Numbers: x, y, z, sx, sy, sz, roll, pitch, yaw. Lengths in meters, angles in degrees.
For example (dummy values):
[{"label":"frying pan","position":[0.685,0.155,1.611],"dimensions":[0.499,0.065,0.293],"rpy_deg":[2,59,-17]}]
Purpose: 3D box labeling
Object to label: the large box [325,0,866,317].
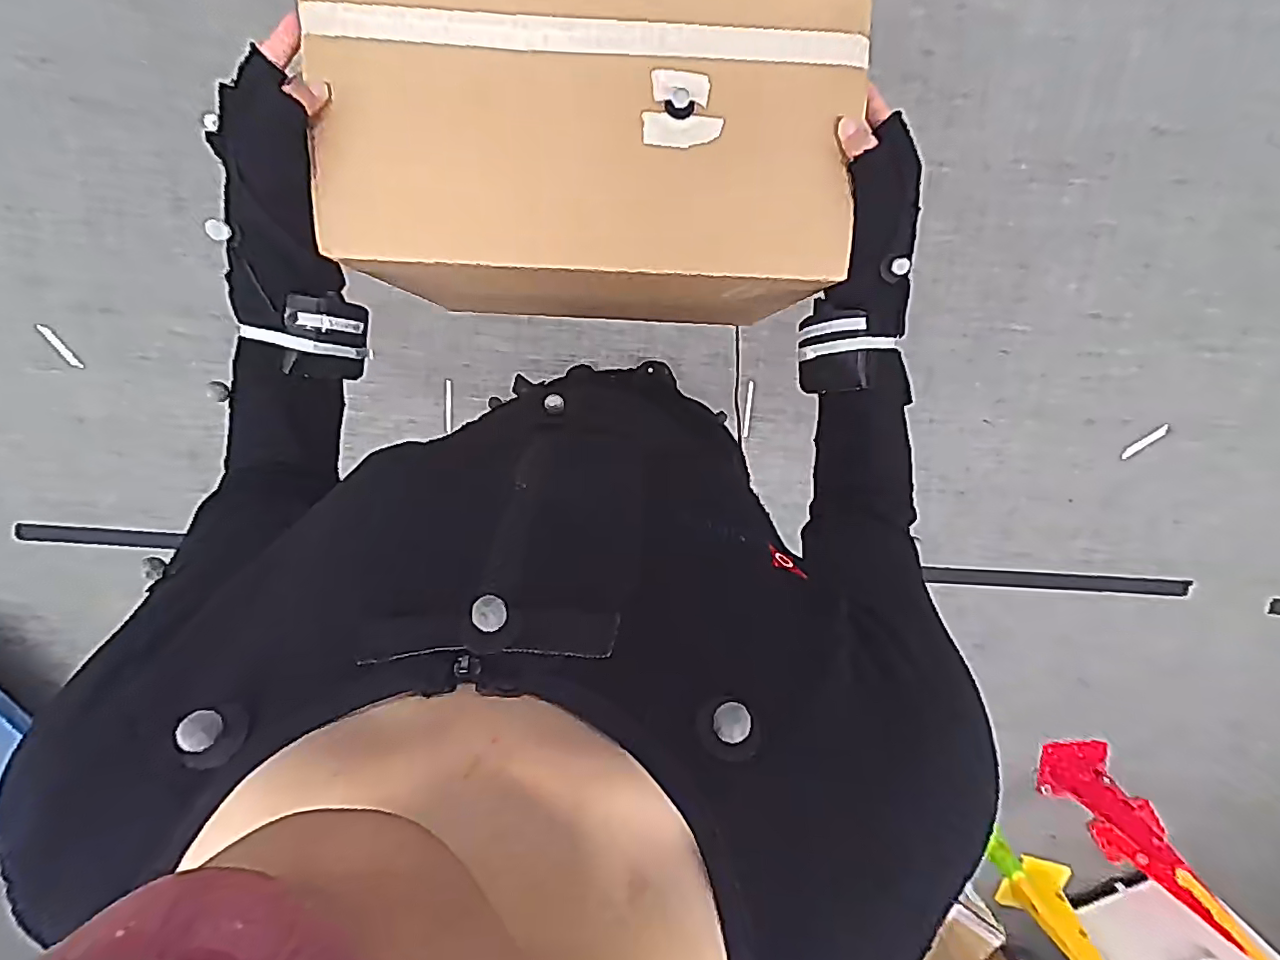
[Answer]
[{"label":"large box","position":[-0.038,-0.348,0.546],"dimensions":[0.408,0.320,0.320],"rpy_deg":[2,100,-3]}]
